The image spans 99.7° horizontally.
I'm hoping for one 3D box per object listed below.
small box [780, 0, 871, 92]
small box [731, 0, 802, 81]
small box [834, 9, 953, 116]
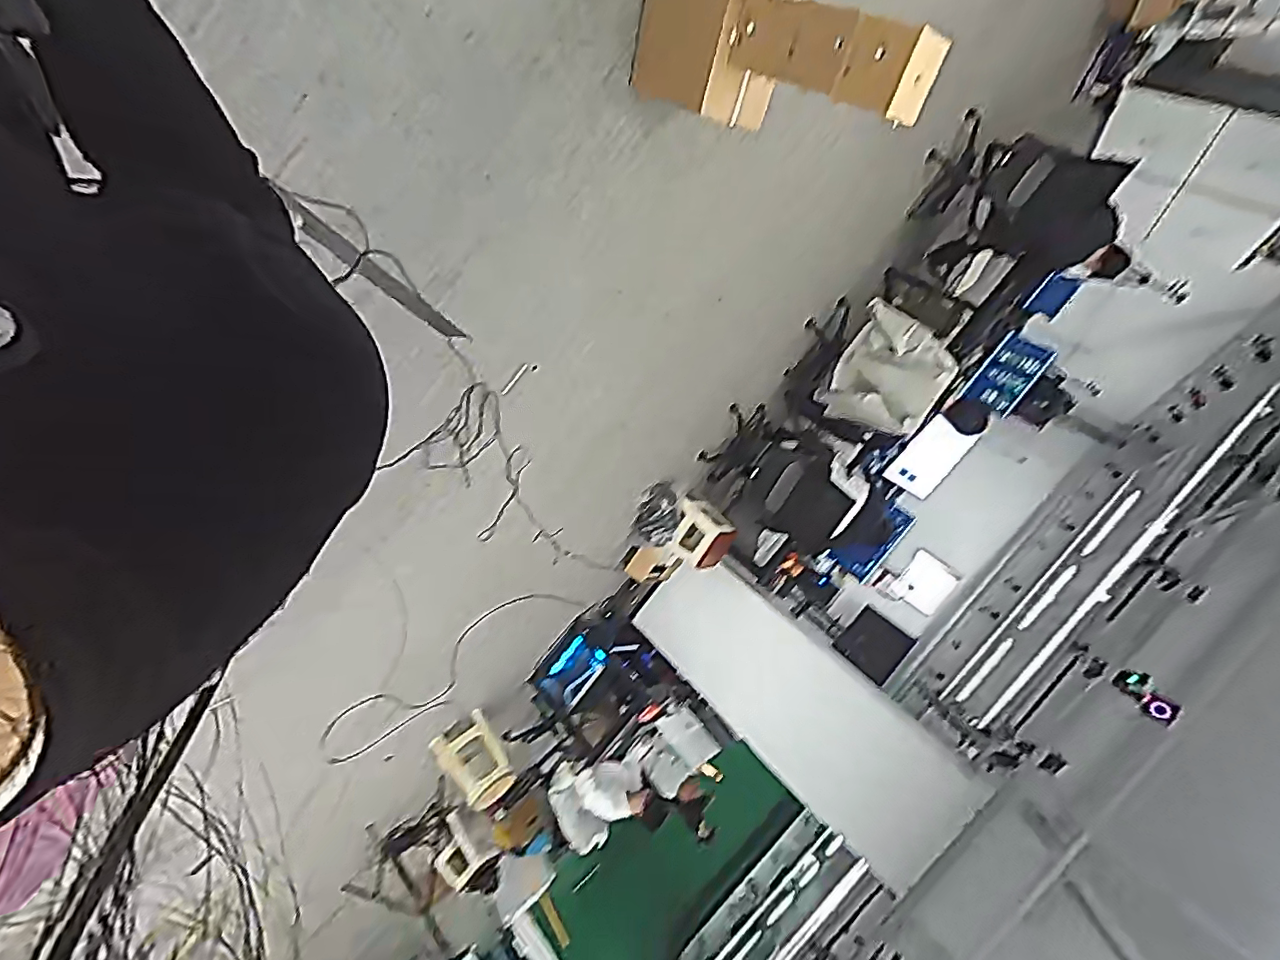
[{"bbox_3d":[0.487,-1.086,1.359,0.179,0.176,0.168,-25,143,-40],"label":"small box"},{"bbox_3d":[0.374,-1.180,1.432,0.179,0.176,0.168,-24,143,-39],"label":"small box"},{"bbox_3d":[0.595,-0.989,1.284,0.179,0.176,0.168,-25,143,-40],"label":"small box"}]
